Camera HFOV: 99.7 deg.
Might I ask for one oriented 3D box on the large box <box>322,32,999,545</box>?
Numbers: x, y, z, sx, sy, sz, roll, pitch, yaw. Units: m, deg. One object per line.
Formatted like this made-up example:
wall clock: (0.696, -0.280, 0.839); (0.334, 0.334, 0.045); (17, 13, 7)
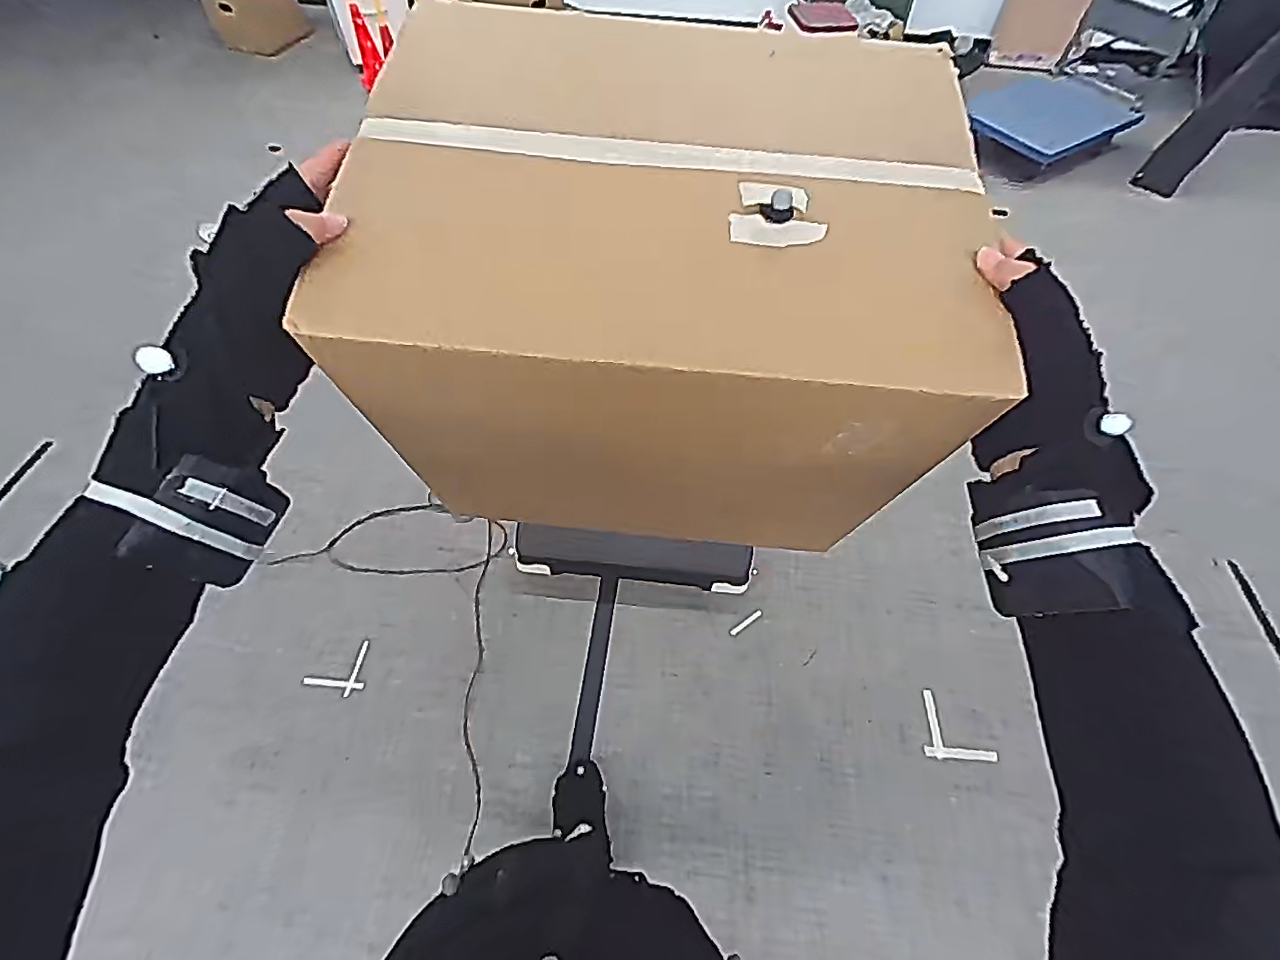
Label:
large box: (0.016, -0.141, 0.506); (0.408, 0.320, 0.320); (6, 67, 0)
